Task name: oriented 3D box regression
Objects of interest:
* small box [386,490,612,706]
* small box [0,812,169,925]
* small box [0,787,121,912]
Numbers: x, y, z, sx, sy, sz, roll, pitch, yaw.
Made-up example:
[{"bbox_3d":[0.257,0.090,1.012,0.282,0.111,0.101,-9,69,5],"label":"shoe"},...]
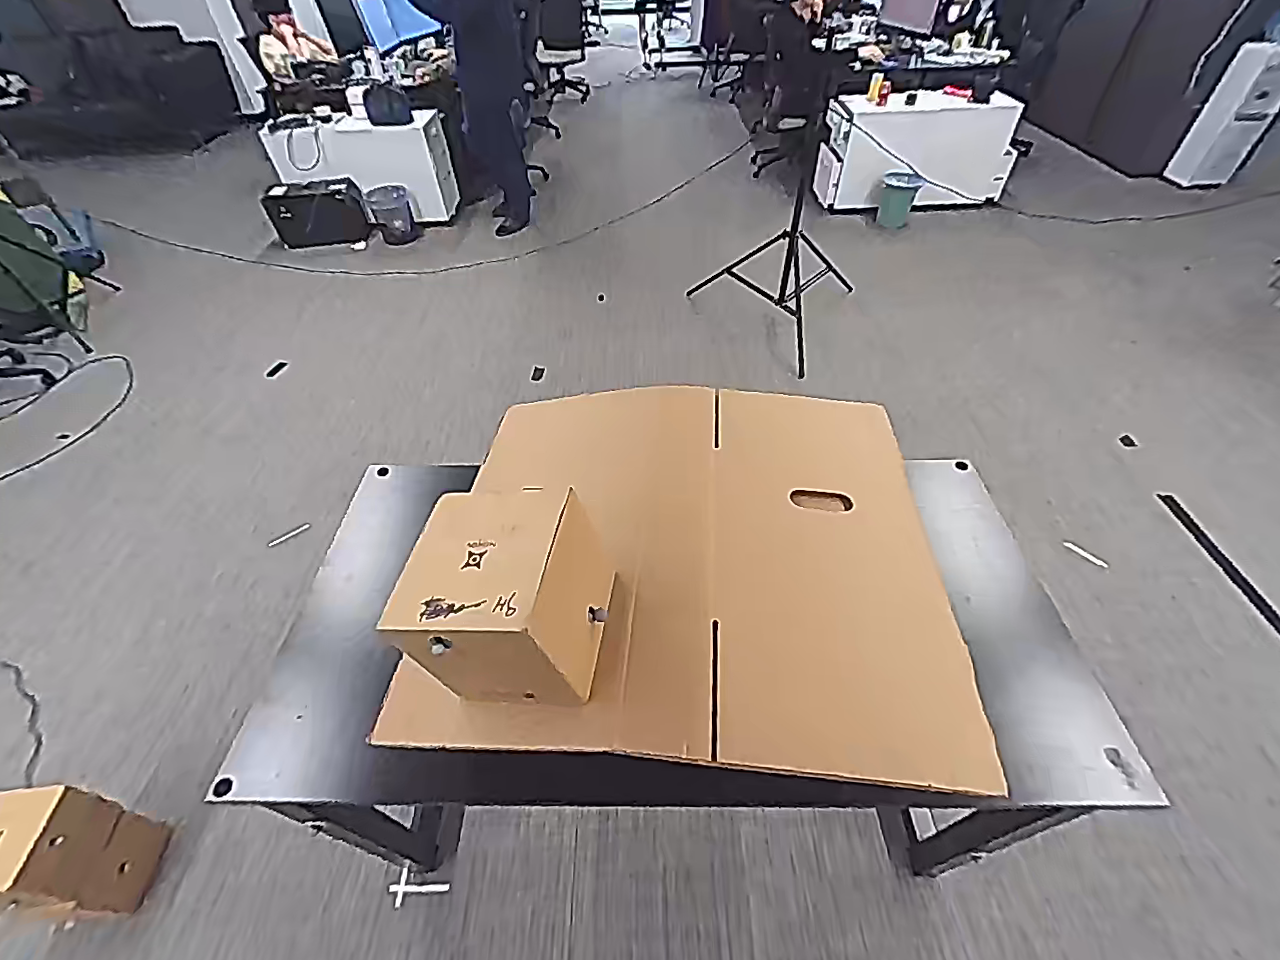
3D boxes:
[{"bbox_3d":[-0.140,0.133,0.616,0.168,0.176,0.179,-5,45,17],"label":"small box"},{"bbox_3d":[-1.206,0.859,1.195,0.168,0.176,0.179,-4,47,-1],"label":"small box"},{"bbox_3d":[-1.213,0.743,1.081,0.168,0.176,0.179,-5,45,-4],"label":"small box"}]
